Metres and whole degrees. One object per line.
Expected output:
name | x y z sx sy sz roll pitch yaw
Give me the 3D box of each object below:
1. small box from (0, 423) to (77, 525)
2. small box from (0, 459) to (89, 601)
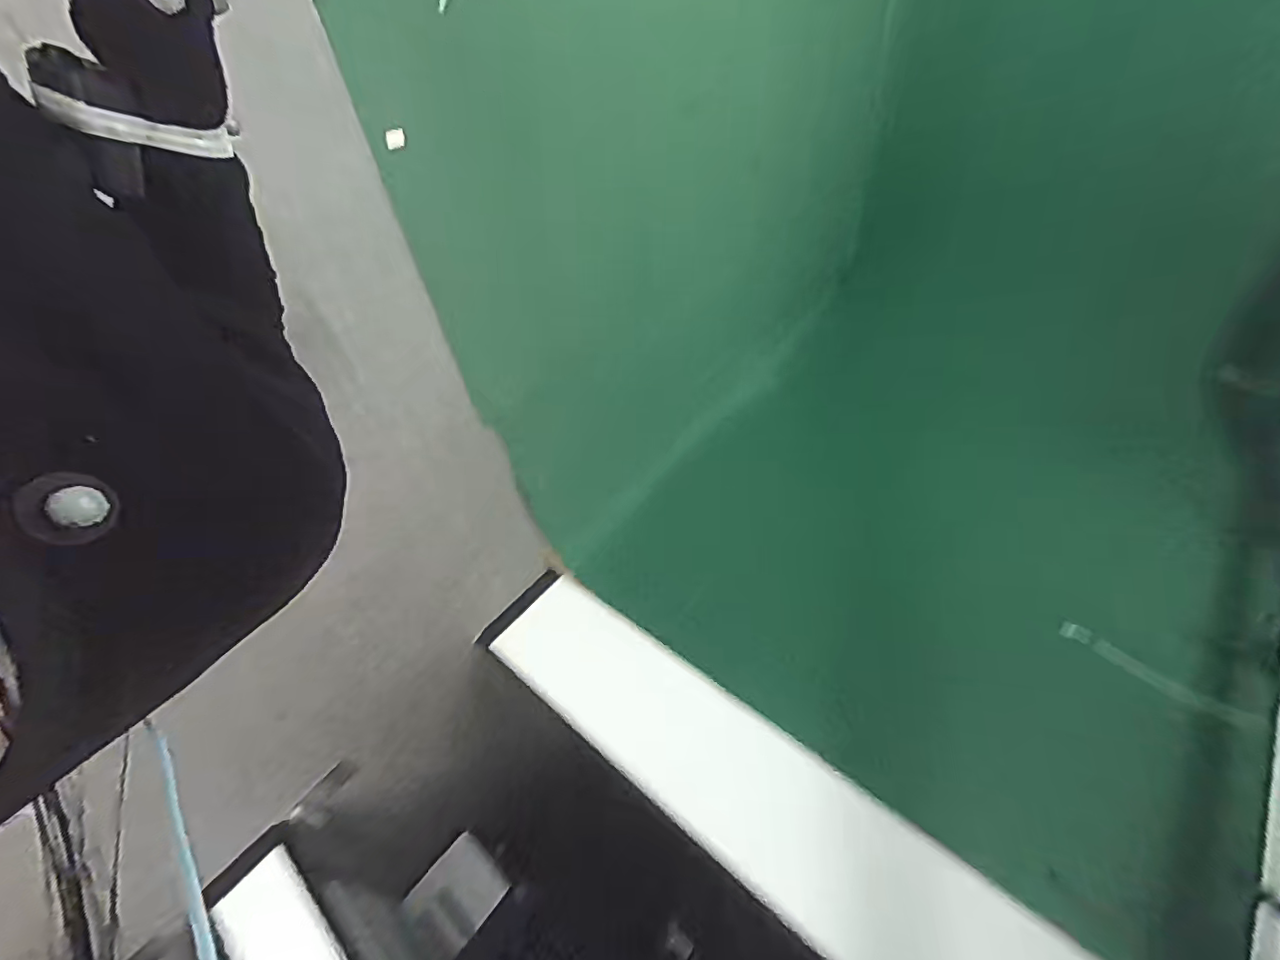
small box | -1.219 0.017 1.007 0.168 0.176 0.179 -36 140 -36
small box | -1.105 0.089 0.911 0.179 0.176 0.168 -37 140 -37
